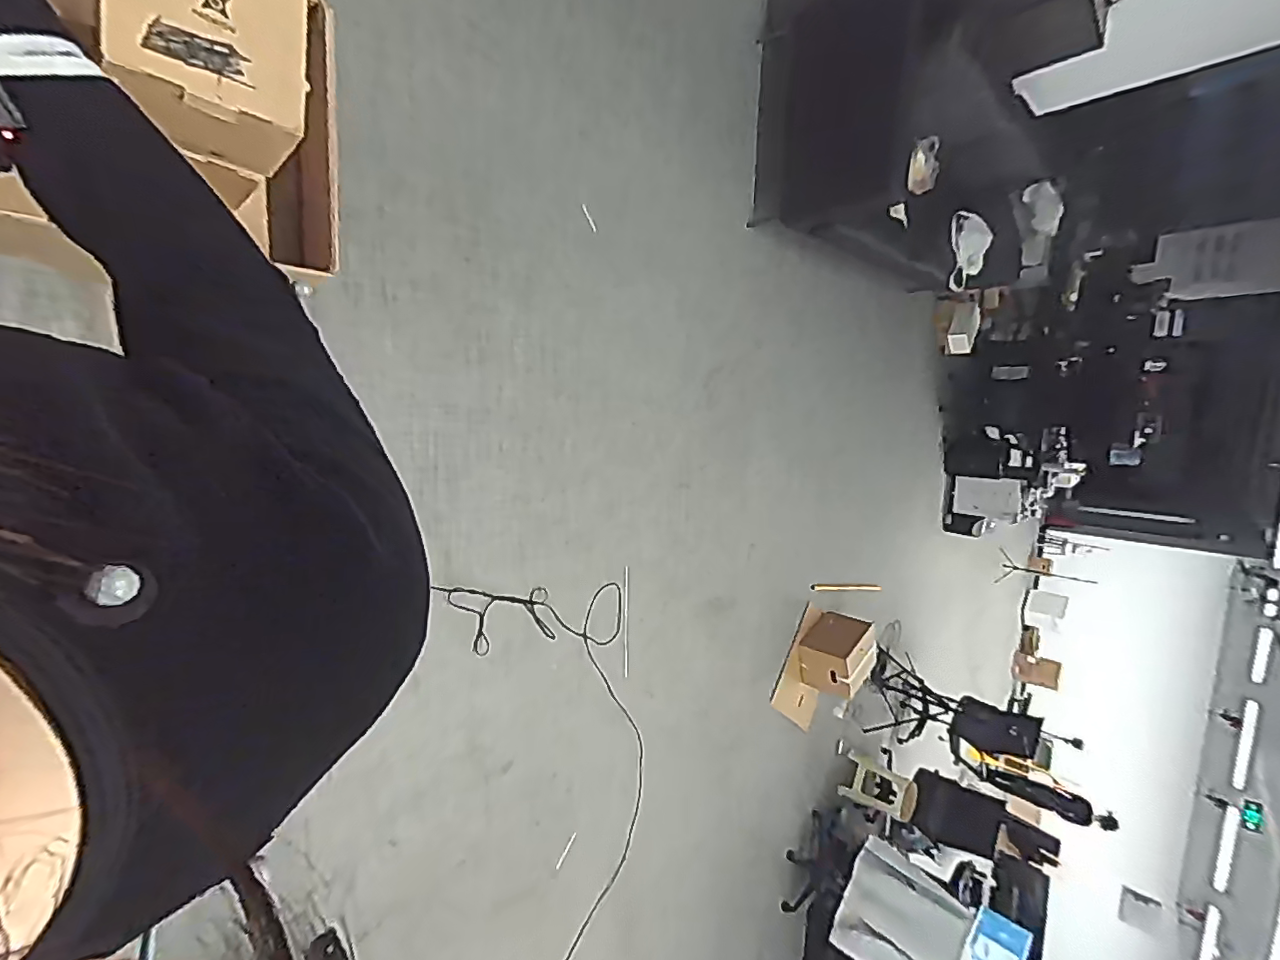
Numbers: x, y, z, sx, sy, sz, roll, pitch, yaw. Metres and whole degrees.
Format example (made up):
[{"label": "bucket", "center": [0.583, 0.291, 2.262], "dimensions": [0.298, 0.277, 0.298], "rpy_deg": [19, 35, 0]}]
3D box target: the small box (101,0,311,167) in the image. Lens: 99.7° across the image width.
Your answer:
[{"label": "small box", "center": [-0.482, -0.485, 0.602], "dimensions": [0.168, 0.176, 0.179], "rpy_deg": [0, 96, -45]}]
